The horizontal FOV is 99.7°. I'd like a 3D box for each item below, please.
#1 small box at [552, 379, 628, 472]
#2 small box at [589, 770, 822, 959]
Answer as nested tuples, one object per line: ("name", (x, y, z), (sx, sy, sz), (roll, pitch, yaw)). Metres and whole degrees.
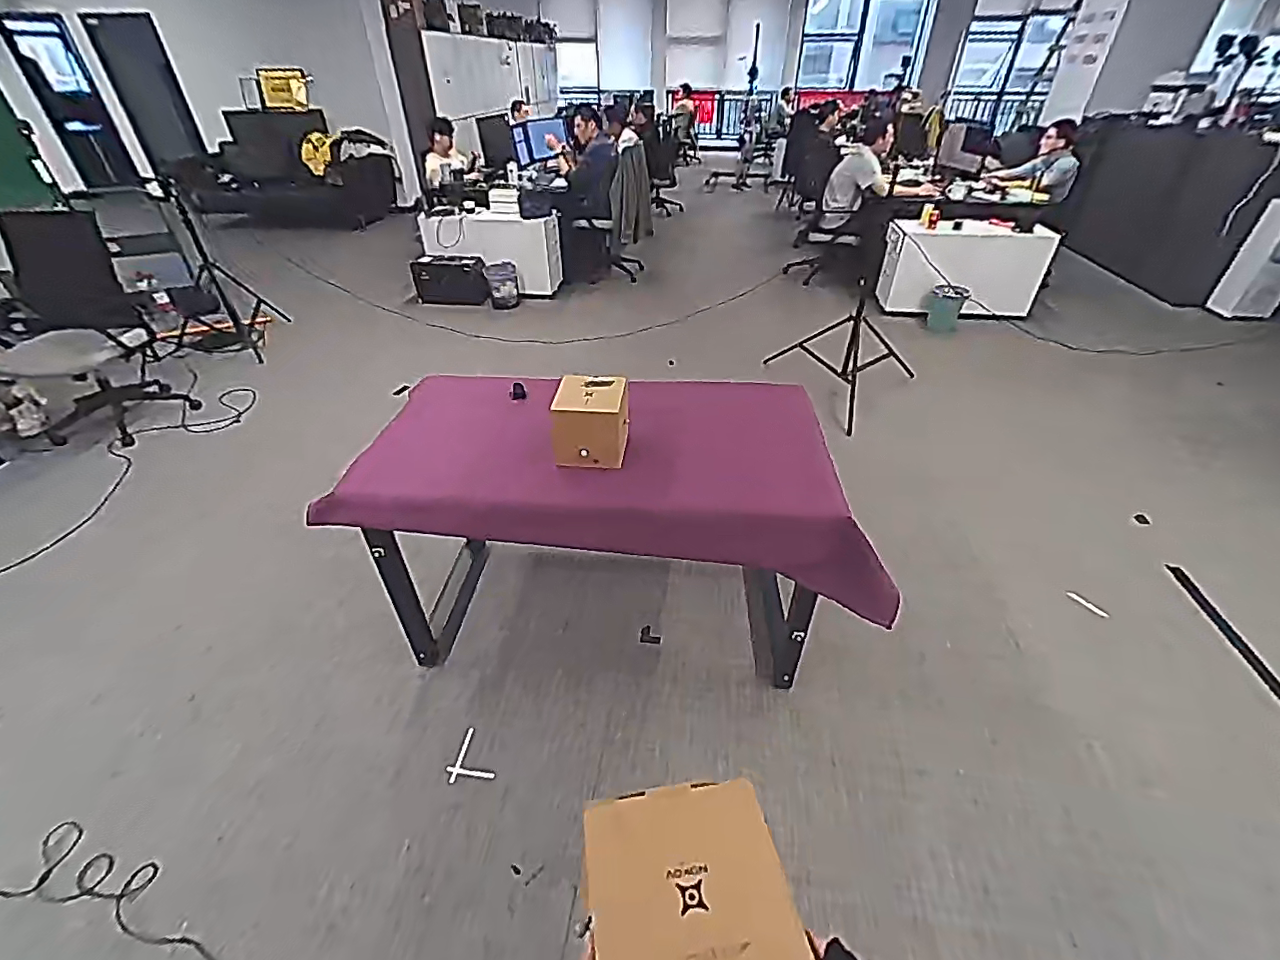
("small box", (-0.121, -0.142, 1.384), (0.168, 0.176, 0.179), (3, 38, 5))
("small box", (0.042, 0.403, 0.486), (0.168, 0.176, 0.179), (-5, 31, -10))
